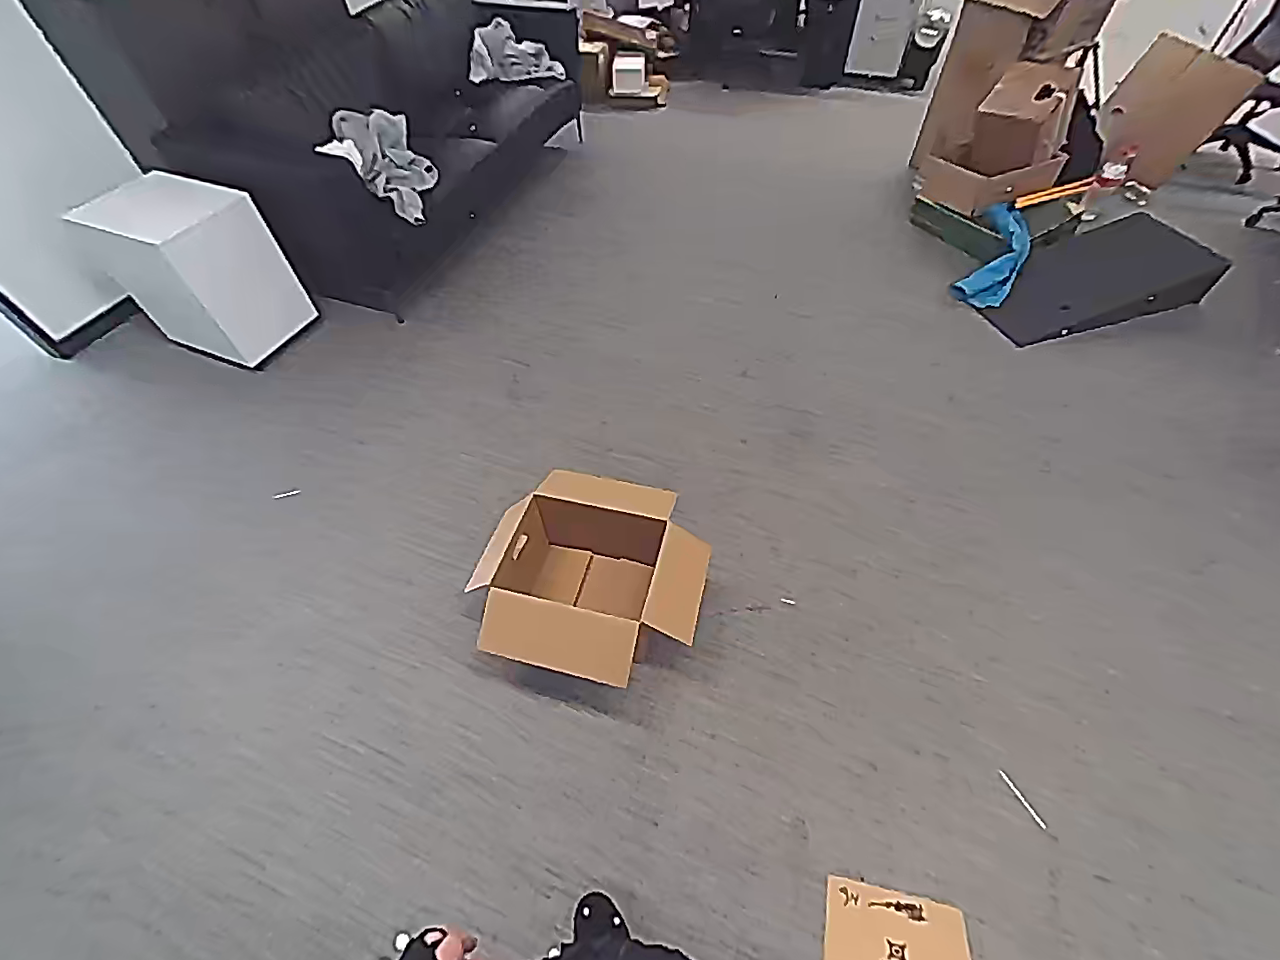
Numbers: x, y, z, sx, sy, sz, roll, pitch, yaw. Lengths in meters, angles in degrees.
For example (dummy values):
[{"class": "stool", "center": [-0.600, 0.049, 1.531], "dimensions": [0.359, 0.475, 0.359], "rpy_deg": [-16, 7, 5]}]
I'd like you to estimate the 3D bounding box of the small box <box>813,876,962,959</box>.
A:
[{"class": "small box", "center": [0.302, 0.646, 0.659], "dimensions": [0.168, 0.176, 0.179], "rpy_deg": [0, 15, 23]}]
